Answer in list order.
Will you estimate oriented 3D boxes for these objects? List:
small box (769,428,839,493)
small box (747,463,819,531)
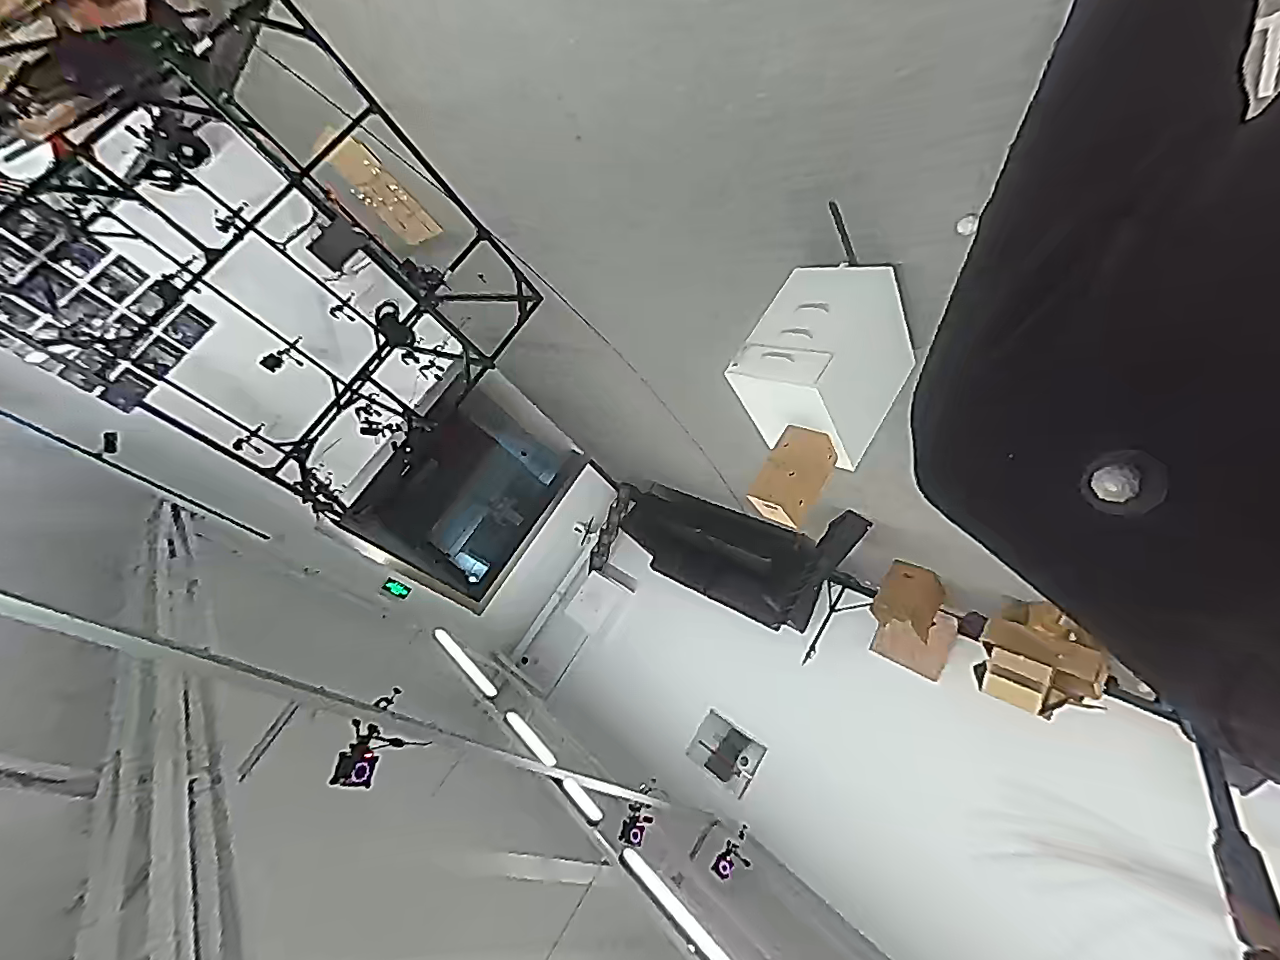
[{"bbox_3d":[0.628,-0.077,2.063,0.179,0.176,0.168,23,163,44],"label":"small box"},{"bbox_3d":[0.541,0.059,2.032,0.168,0.176,0.179,22,164,48],"label":"small box"}]
